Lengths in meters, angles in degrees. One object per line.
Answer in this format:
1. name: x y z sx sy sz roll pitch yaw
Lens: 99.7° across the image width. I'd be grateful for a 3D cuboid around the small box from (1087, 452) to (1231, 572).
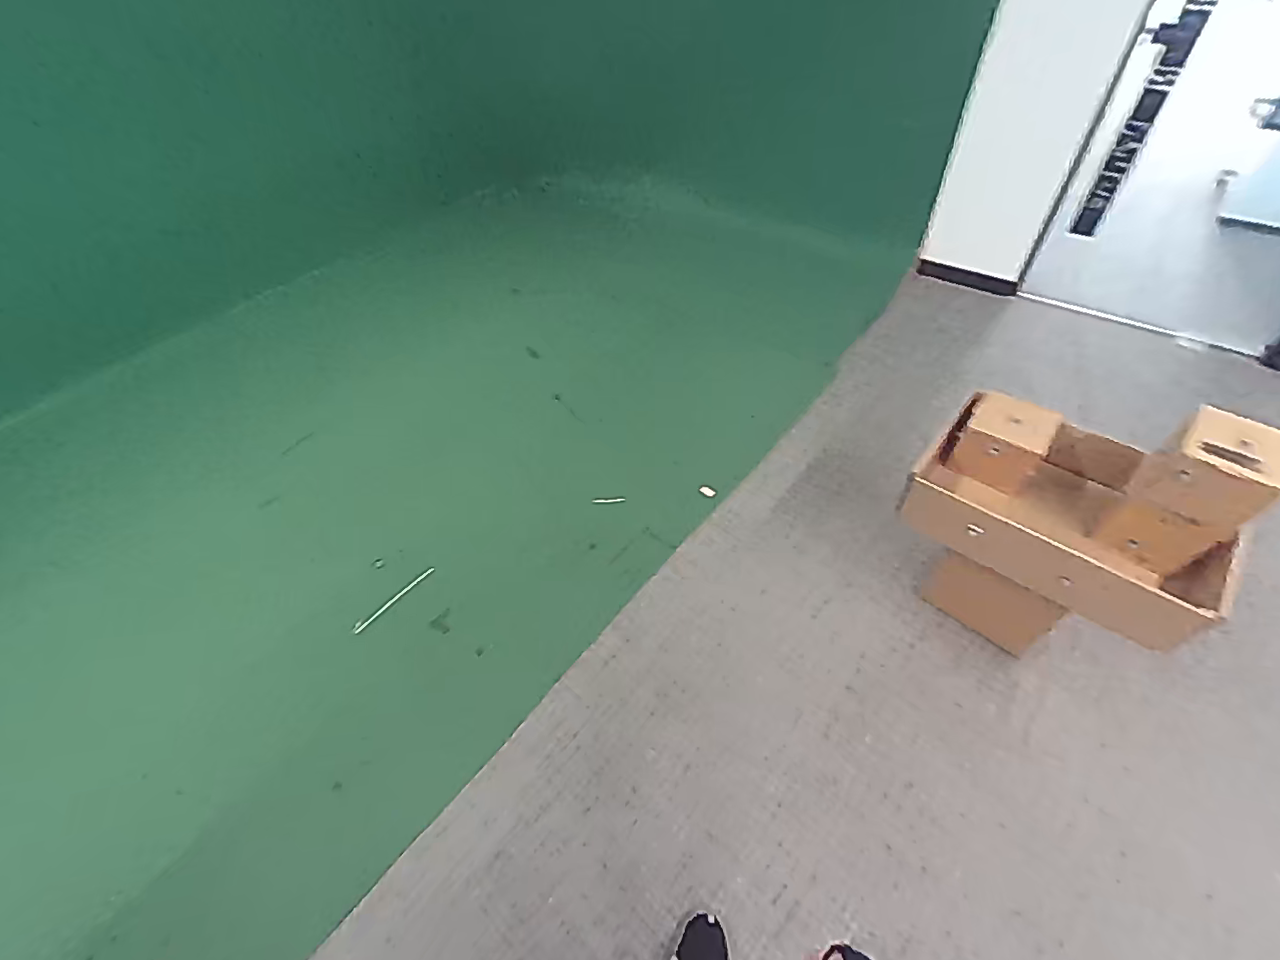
1. small box: 1.188 0.076 1.250 0.168 0.176 0.179 33 62 28
